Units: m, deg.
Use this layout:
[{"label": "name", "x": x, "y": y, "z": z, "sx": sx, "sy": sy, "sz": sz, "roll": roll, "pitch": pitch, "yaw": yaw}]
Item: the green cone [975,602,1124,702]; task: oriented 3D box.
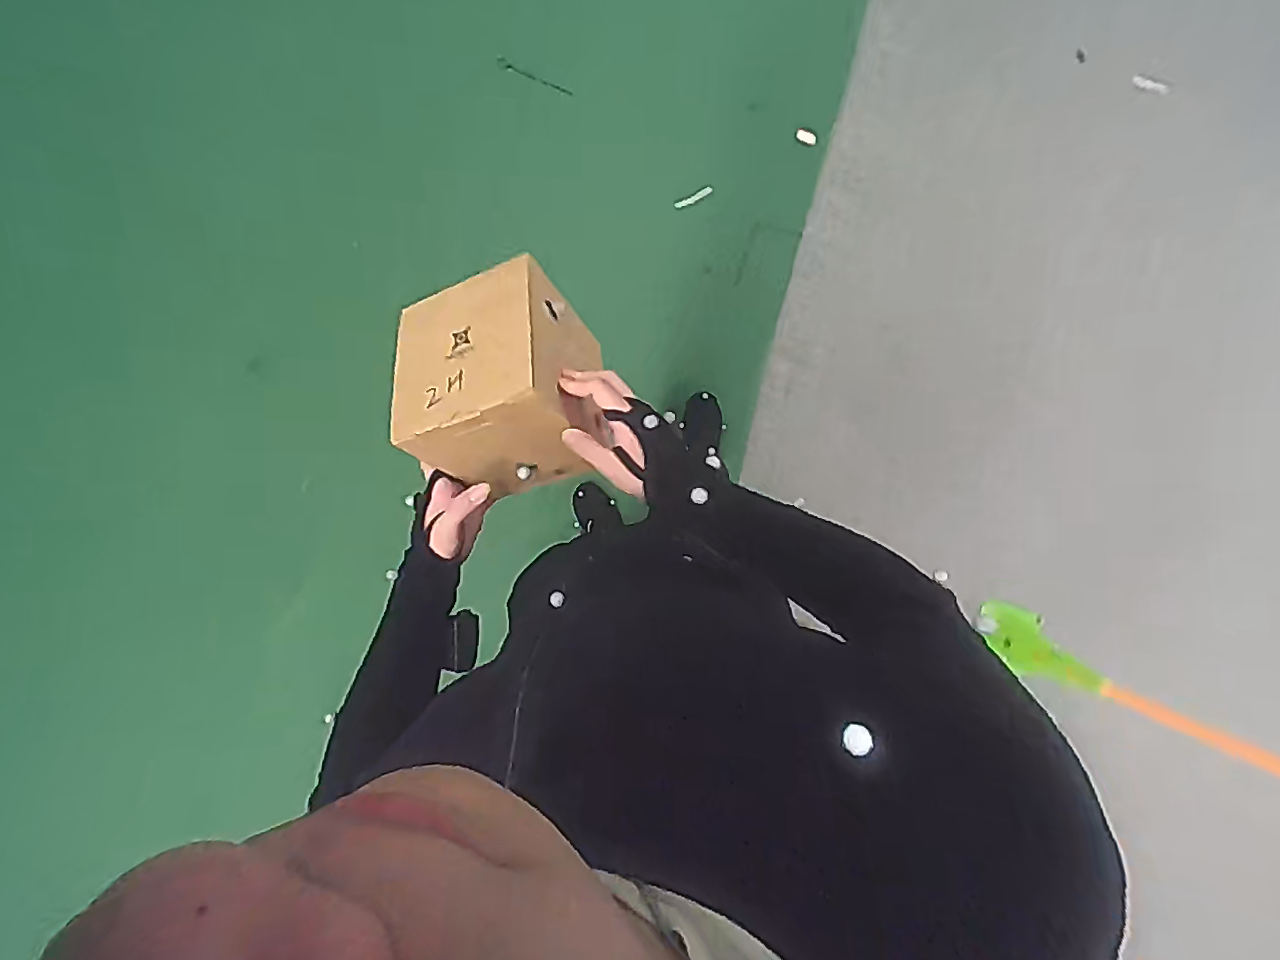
[{"label": "green cone", "x": 1.146, "y": 0.500, "z": 1.484, "sx": 0.200, "sy": 0.368, "sz": 0.202, "roll": 15, "pitch": 94, "yaw": -2}]
